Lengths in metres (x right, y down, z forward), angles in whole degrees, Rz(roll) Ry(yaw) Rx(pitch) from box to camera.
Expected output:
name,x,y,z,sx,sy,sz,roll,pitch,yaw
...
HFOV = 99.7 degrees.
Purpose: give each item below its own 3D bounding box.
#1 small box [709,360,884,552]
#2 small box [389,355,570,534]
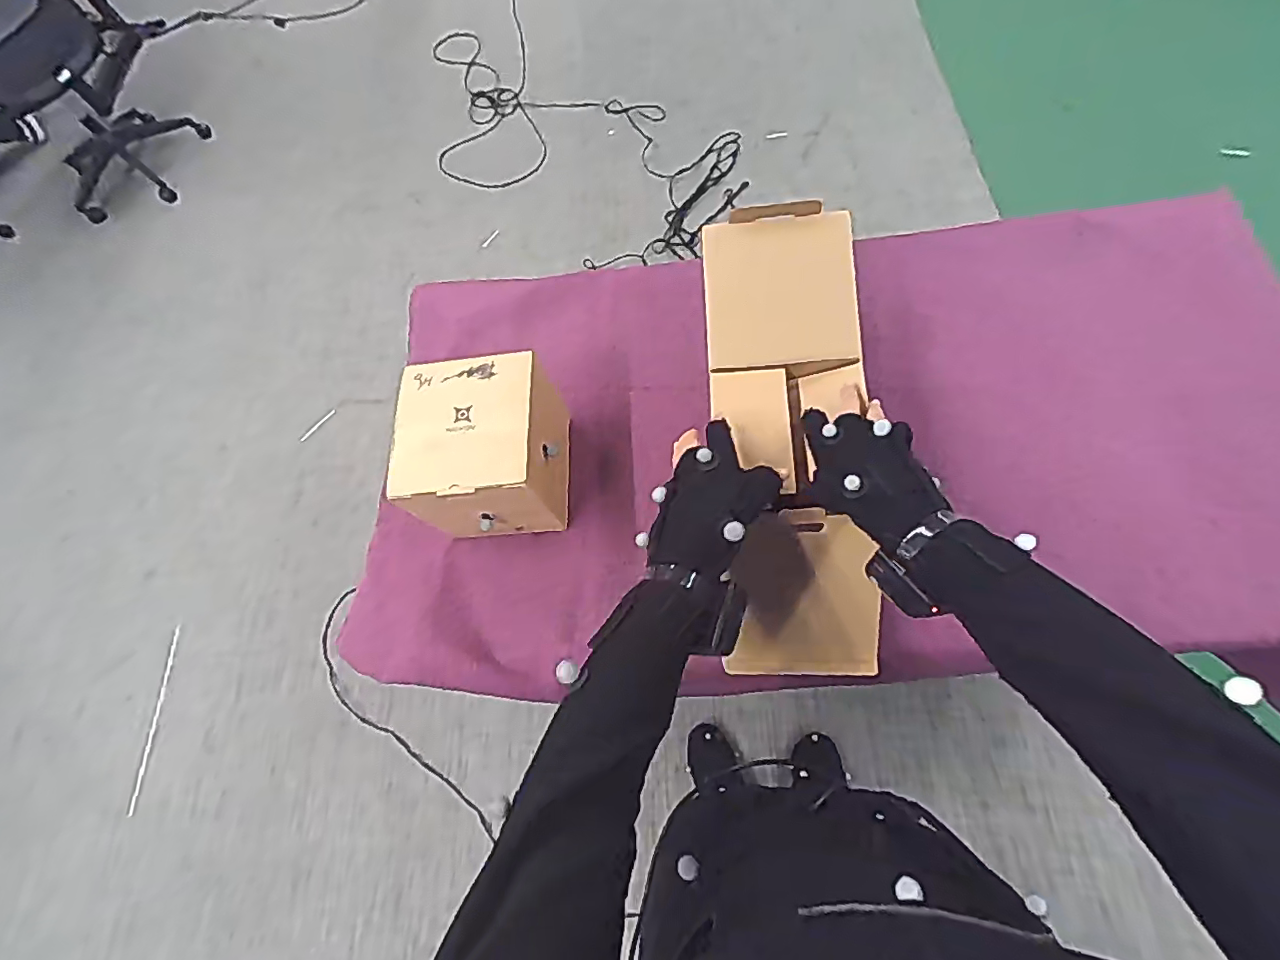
name,x,y,z,sx,sy,sz,roll,pitch,yaw
small box,0.168,-0.016,0.631,0.168,0.176,0.179,-2,67,8
small box,-0.191,-0.034,0.696,0.168,0.176,0.179,-5,68,7
